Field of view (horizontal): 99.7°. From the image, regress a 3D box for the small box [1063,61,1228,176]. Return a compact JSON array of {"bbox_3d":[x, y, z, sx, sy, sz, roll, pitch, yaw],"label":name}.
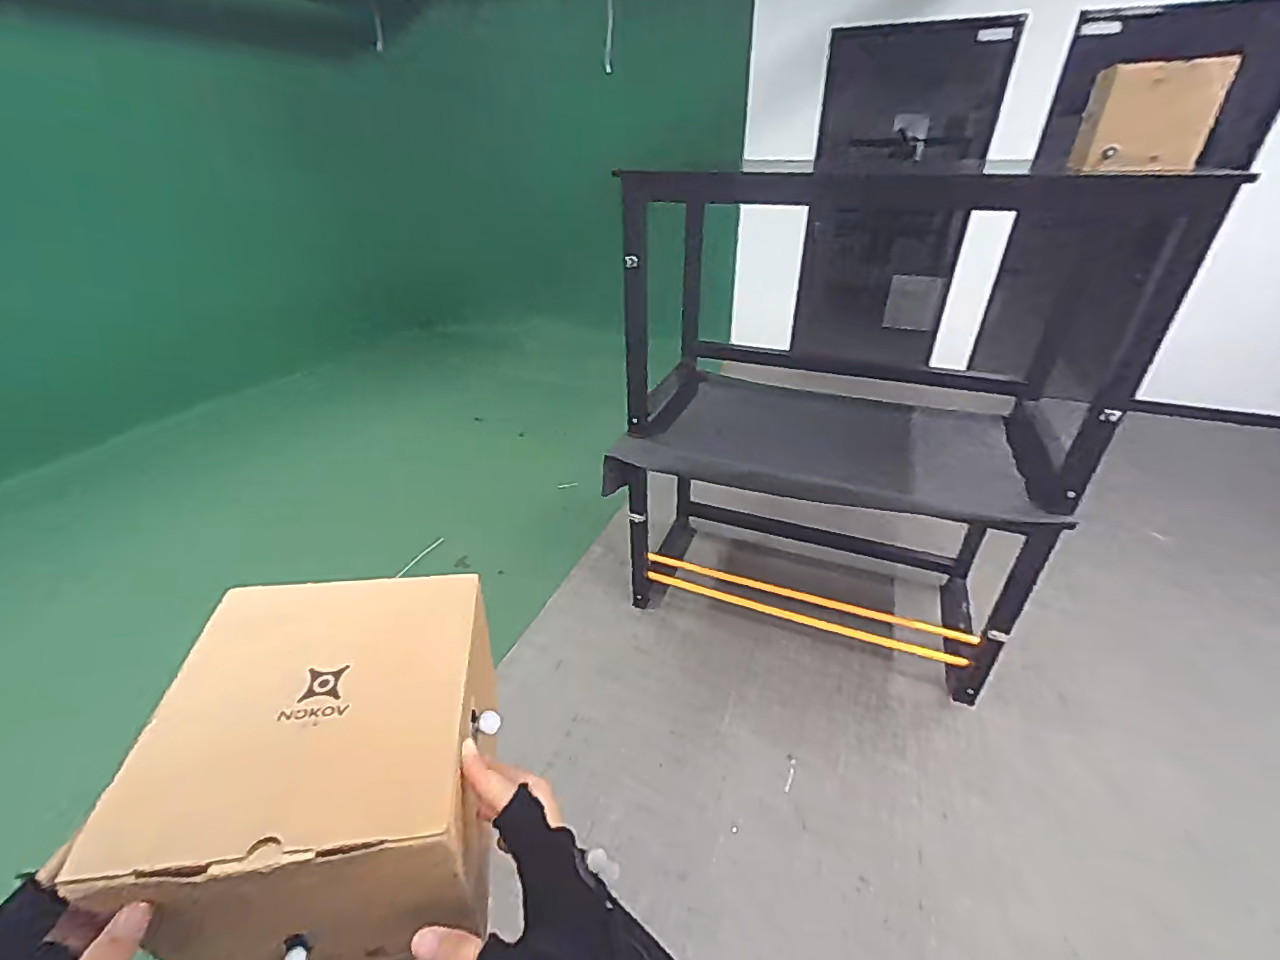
[{"bbox_3d":[0.958,-0.689,1.046,0.168,0.176,0.179,13,34,22],"label":"small box"}]
